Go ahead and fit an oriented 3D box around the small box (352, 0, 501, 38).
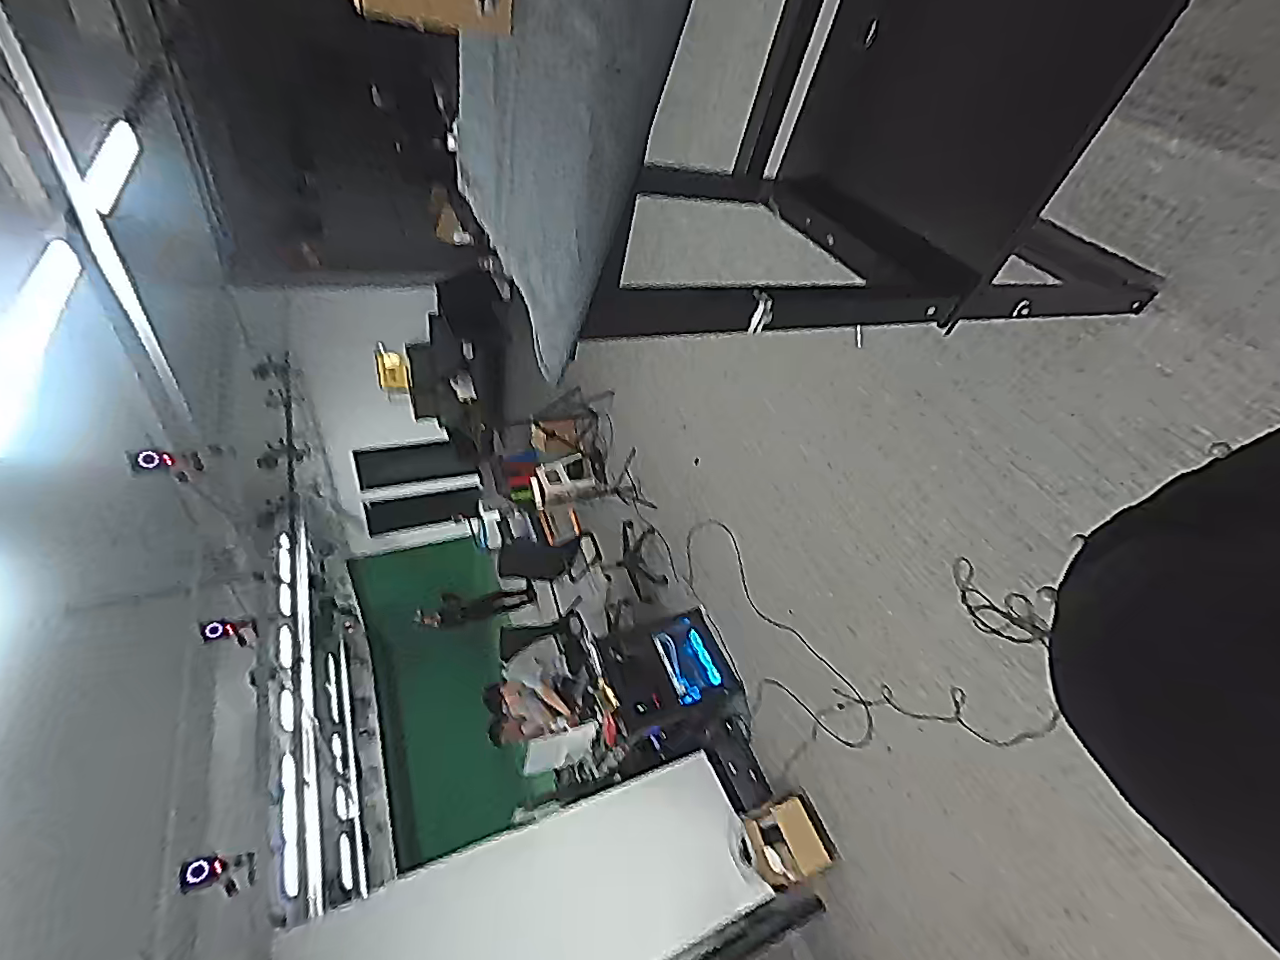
[{"bbox_3d":[-0.252,-0.641,0.625,0.179,0.176,0.168,62,149,36],"label":"small box"}]
